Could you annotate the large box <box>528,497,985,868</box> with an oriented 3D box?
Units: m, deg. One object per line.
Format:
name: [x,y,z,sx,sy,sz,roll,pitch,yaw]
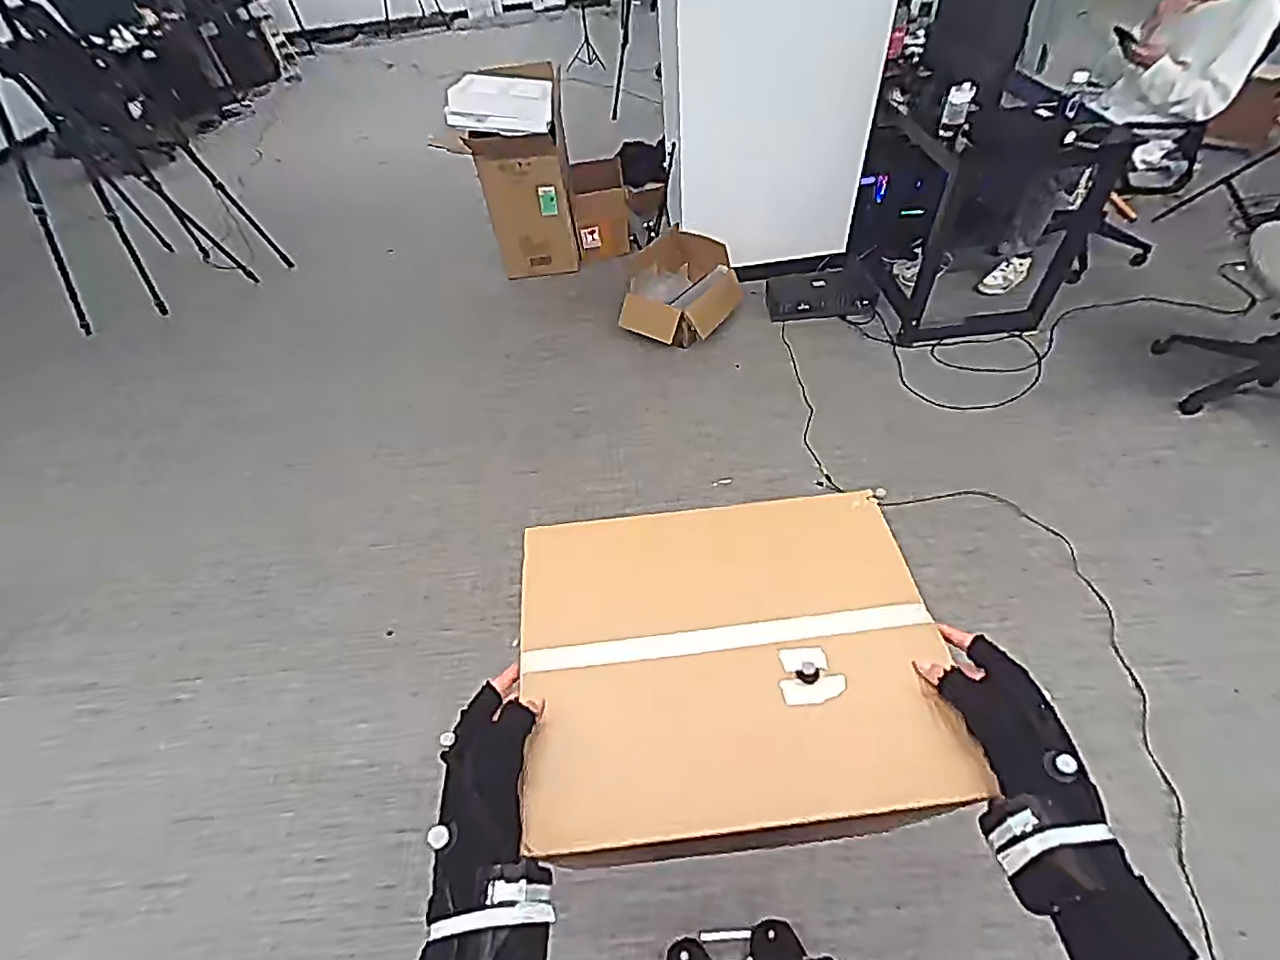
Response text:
large box: [0.091,0.254,0.663,0.408,0.320,0.320,-6,52,-2]
